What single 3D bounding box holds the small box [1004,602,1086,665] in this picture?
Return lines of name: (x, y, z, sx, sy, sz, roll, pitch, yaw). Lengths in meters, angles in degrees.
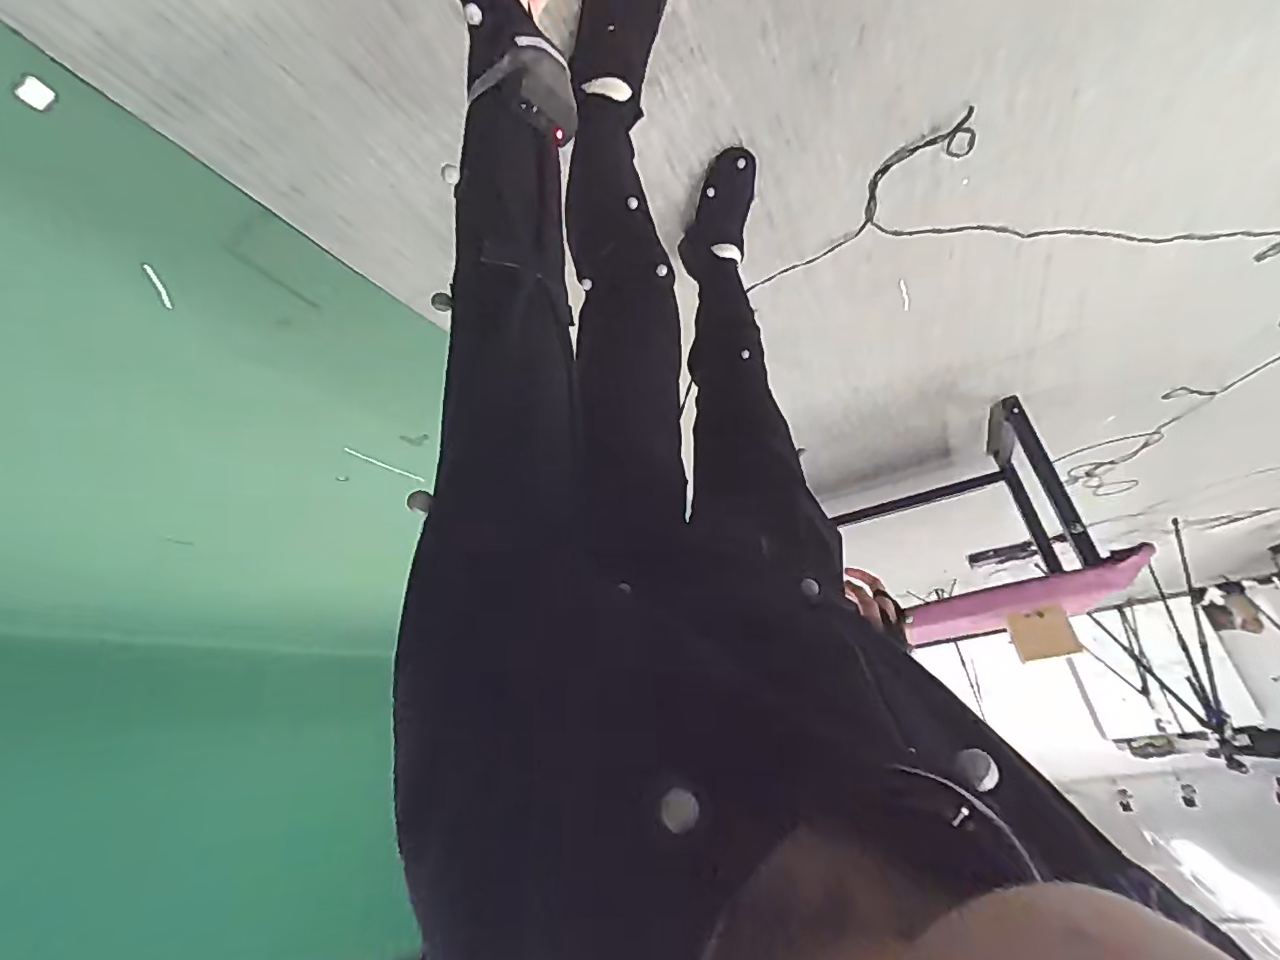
small box: (1.338, 0.512, 1.799, 0.168, 0.176, 0.179, -21, 151, 24)
